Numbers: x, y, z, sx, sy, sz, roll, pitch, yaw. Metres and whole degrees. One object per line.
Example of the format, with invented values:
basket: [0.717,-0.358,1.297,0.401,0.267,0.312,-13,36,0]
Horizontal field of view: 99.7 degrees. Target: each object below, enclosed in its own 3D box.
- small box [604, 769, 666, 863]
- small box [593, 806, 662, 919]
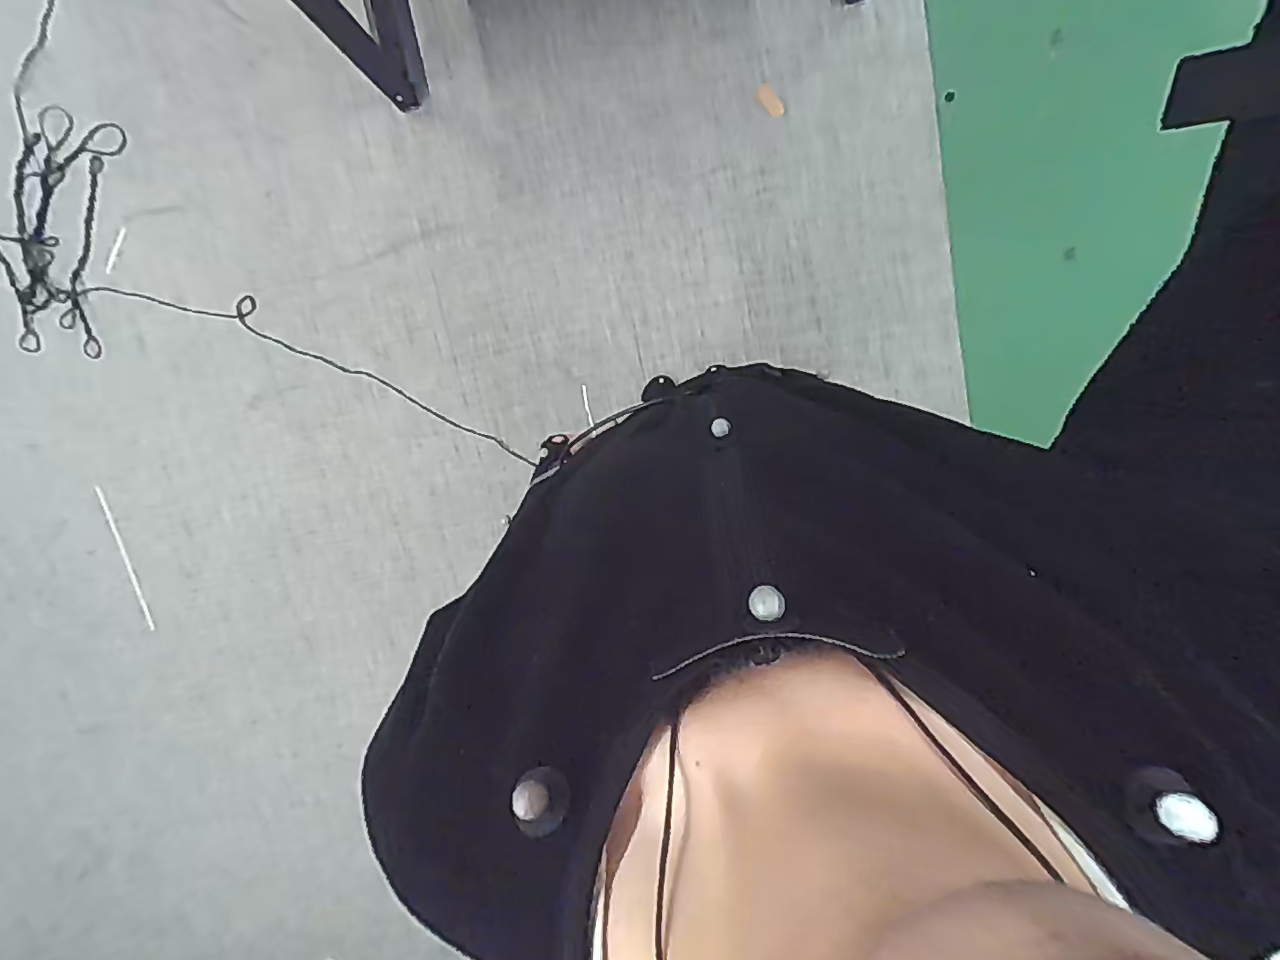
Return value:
small box: [-0.011,0.974,1.580,0.168,0.176,0.179,-4,100,6]
small box: [-0.028,0.998,1.419,0.168,0.176,0.179,-1,99,4]
